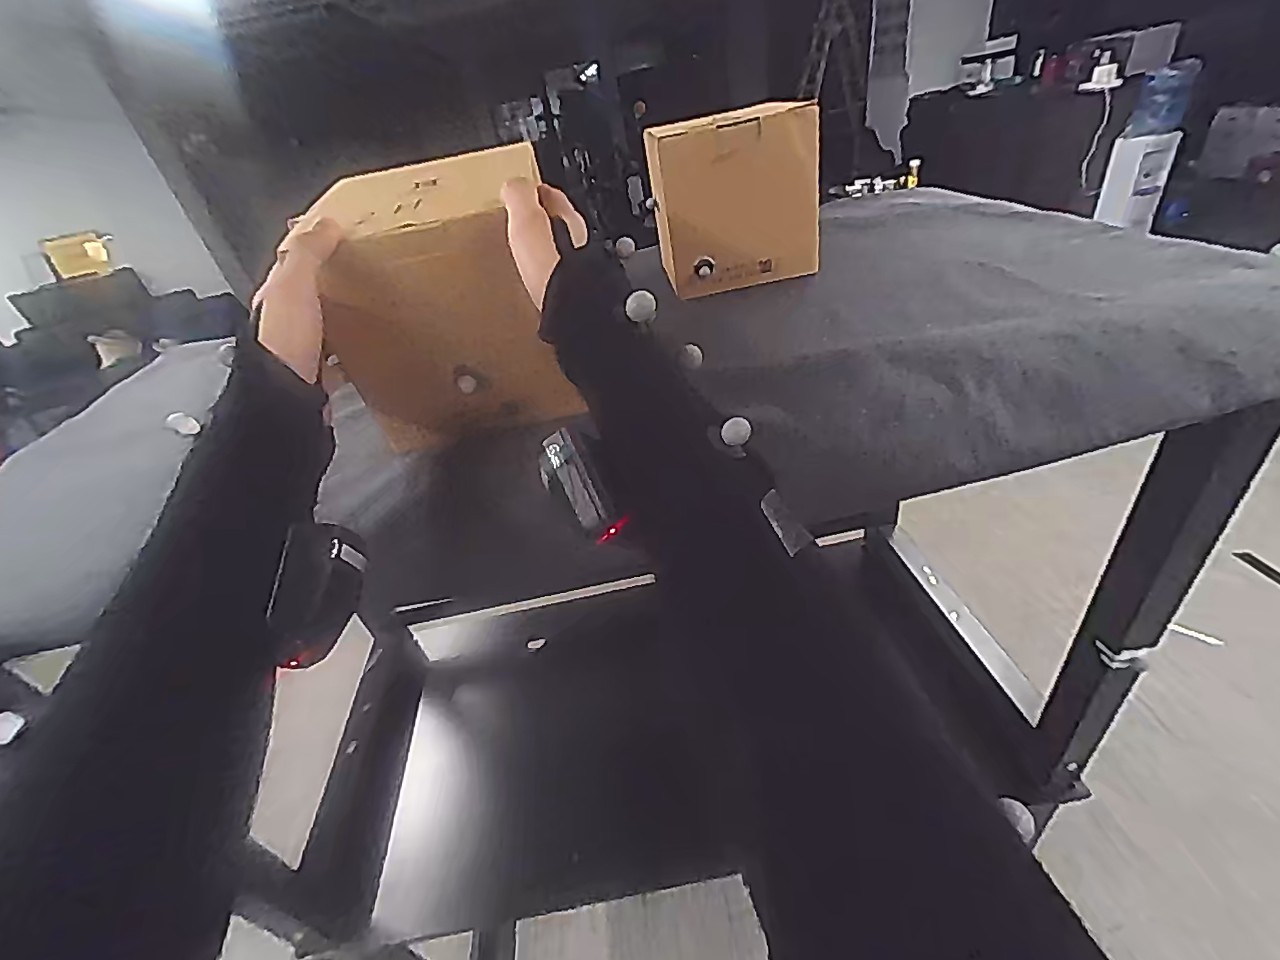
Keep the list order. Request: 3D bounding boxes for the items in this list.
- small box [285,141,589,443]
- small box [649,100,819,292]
[{"bbox_3d":[-0.143,-0.157,0.450,0.168,0.176,0.179,-12,44,-1],"label":"small box"},{"bbox_3d":[0.110,-0.337,0.651,0.168,0.176,0.179,-10,34,2],"label":"small box"}]
